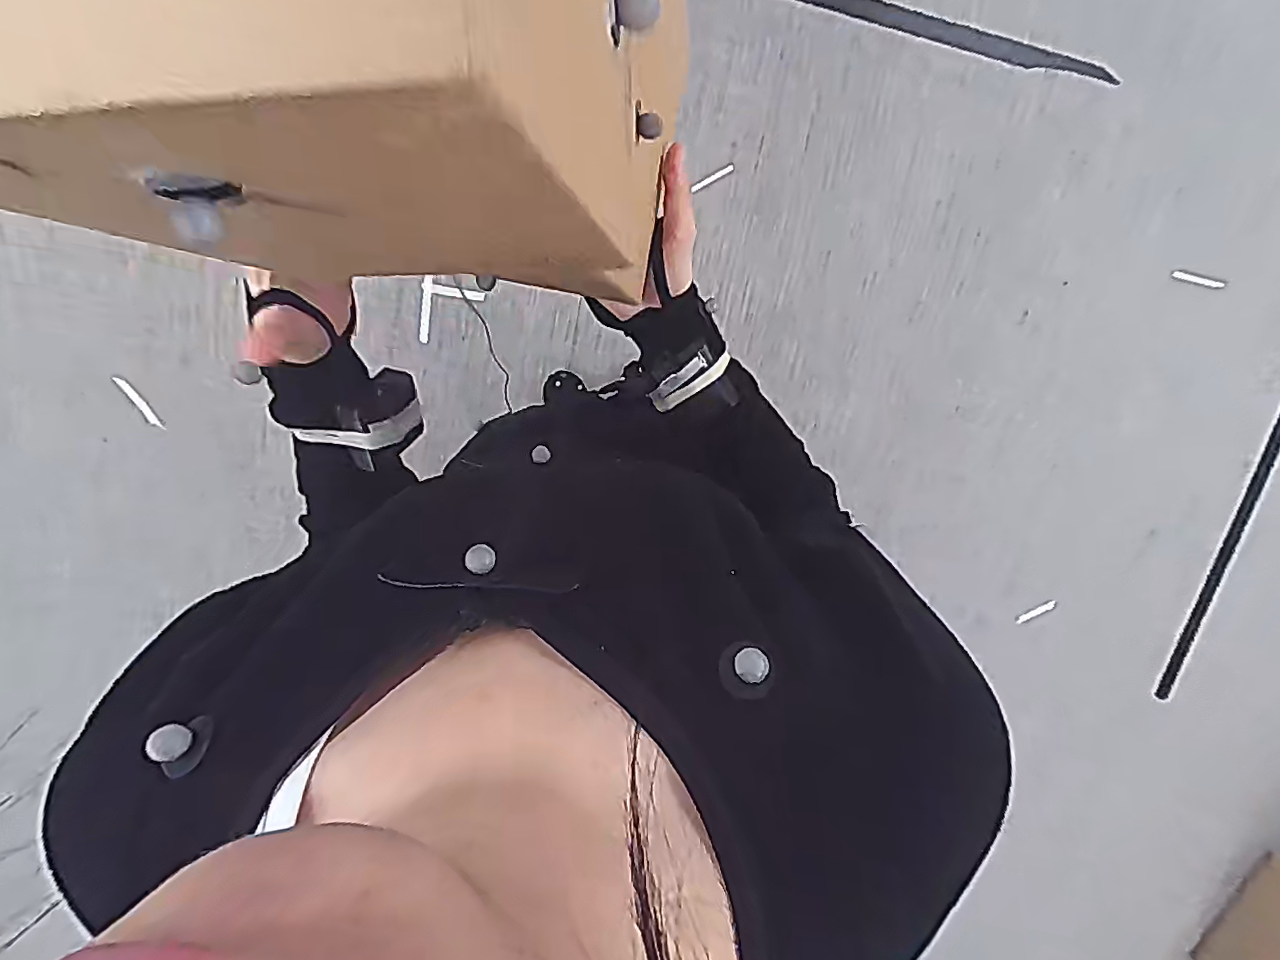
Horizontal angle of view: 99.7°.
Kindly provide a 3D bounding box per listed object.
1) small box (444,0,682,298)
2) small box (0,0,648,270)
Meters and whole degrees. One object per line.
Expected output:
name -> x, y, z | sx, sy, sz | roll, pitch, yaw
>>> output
small box -> -0.071, -0.217, 0.322 | 0.168, 0.176, 0.179 | 11, 101, 6
small box -> -0.095, -0.167, 0.166 | 0.179, 0.176, 0.168 | 1, 101, 8
